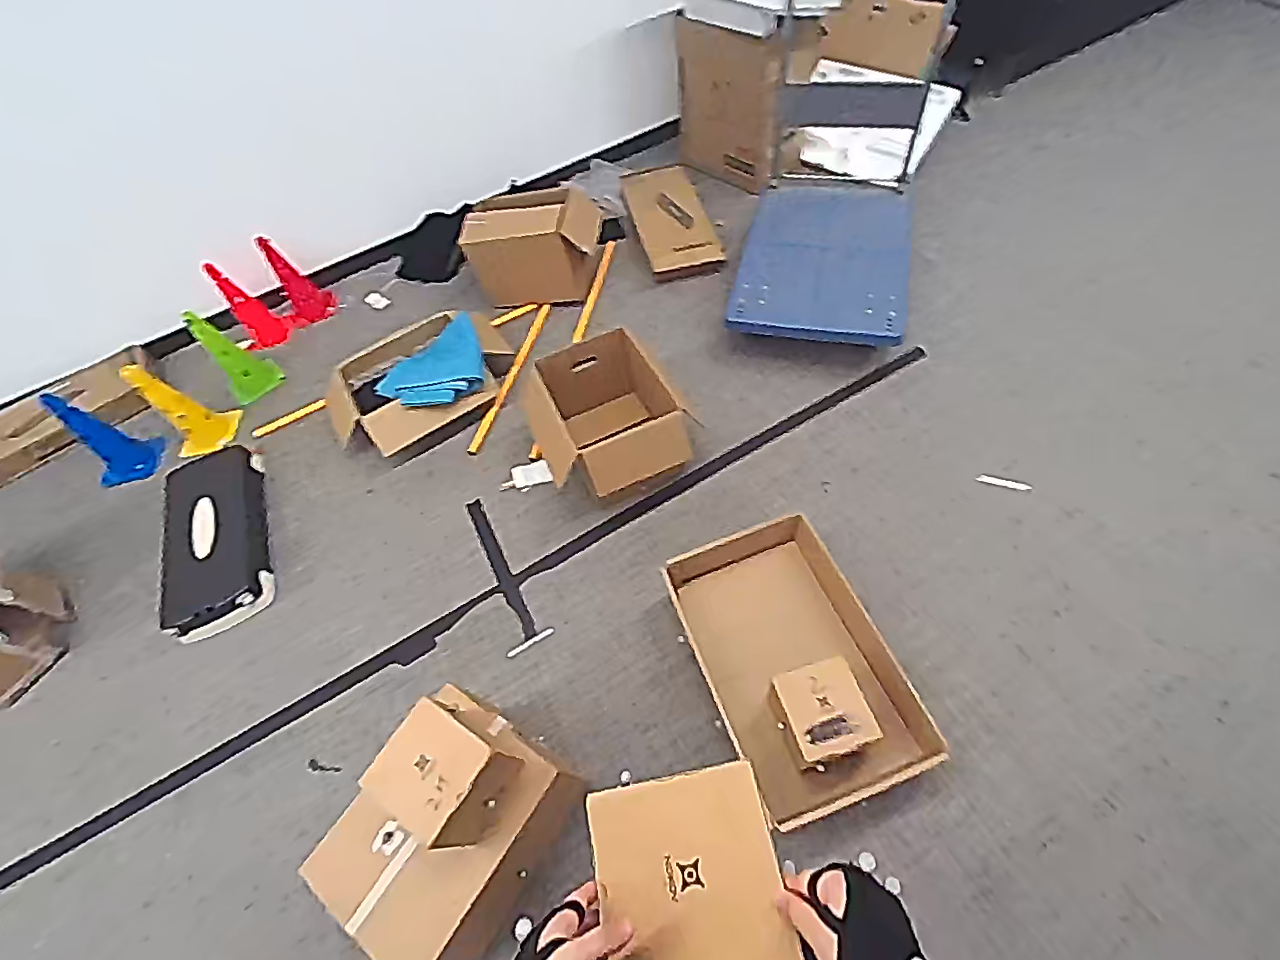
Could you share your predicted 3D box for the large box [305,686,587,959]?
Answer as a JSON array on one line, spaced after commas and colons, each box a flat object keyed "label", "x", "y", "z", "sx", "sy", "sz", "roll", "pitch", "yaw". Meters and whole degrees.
[{"label": "large box", "x": -0.367, "y": 0.719, "z": 1.135, "sx": 0.320, "sy": 0.320, "sz": 0.408, "roll": 25, "pitch": 65, "yaw": 24}]

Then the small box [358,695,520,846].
[{"label": "small box", "x": -0.348, "y": 0.519, "z": 0.966, "sx": 0.179, "sy": 0.176, "sz": 0.168, "roll": 25, "pitch": 65, "yaw": 22}]
